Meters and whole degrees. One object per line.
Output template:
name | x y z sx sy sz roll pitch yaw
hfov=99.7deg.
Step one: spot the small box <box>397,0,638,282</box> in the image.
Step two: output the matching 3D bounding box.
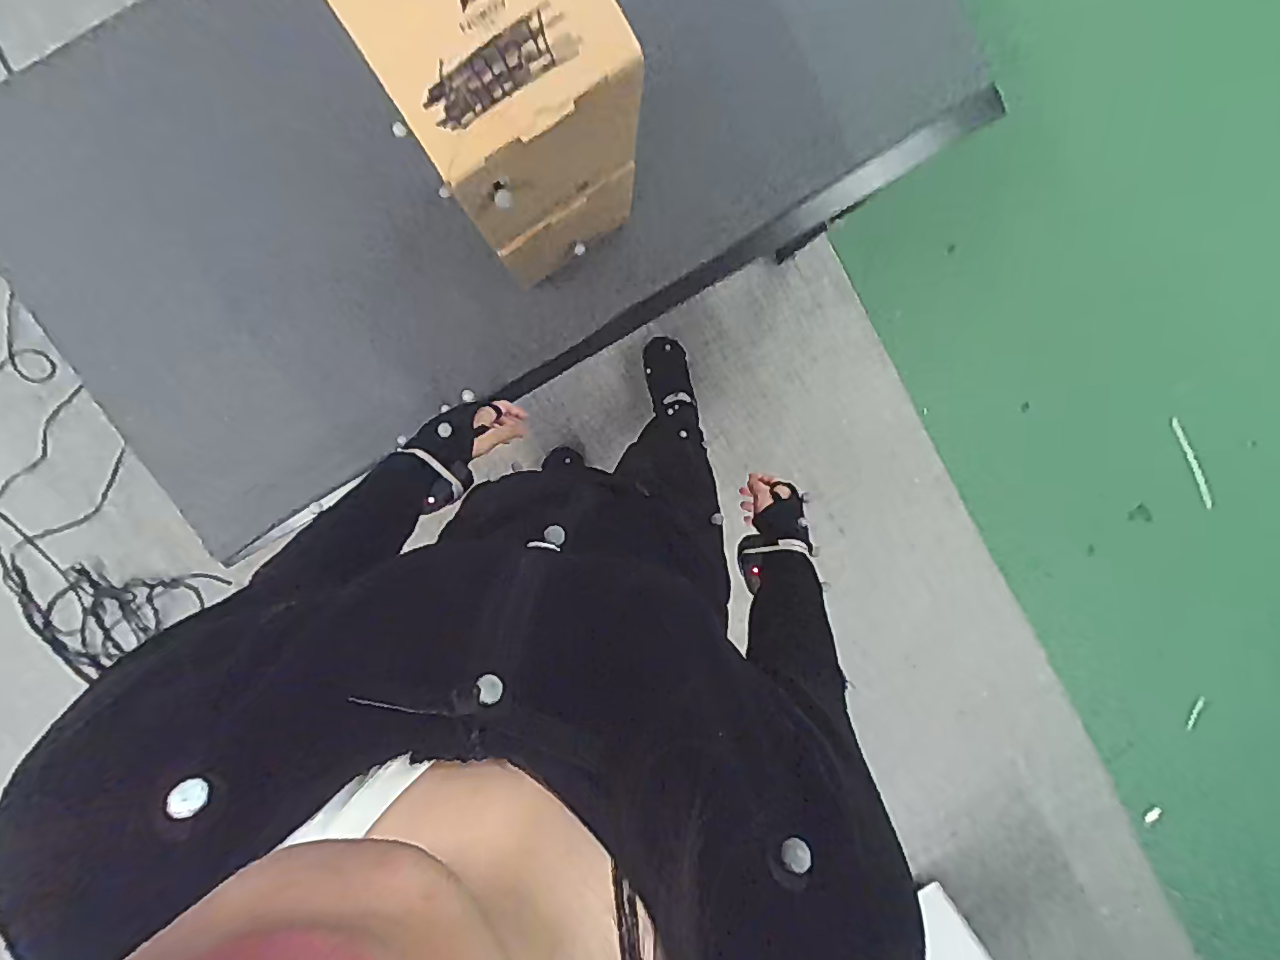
small box | -0.121 -0.349 0.594 0.168 0.176 0.179 -35 98 1
